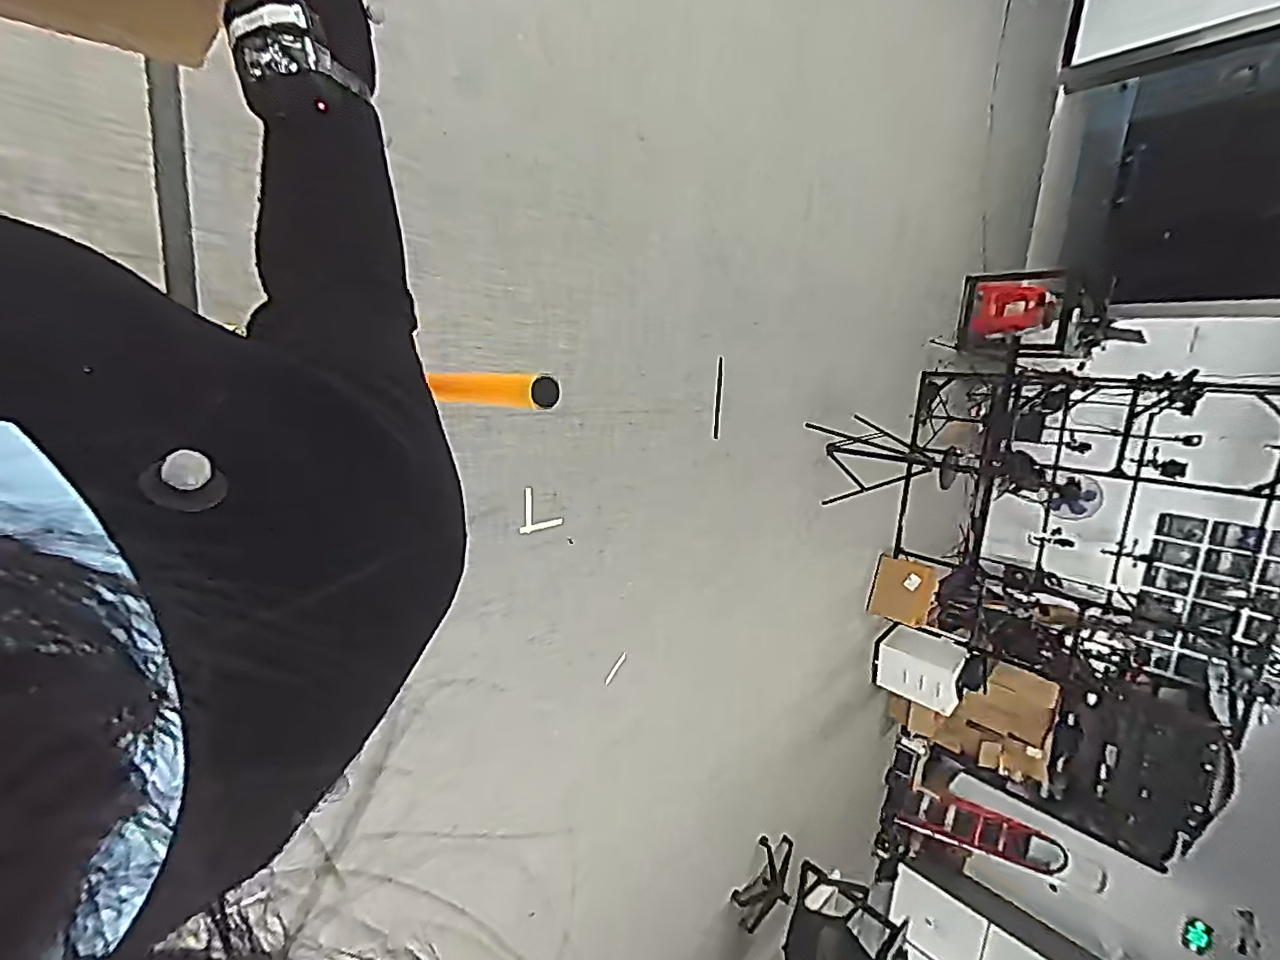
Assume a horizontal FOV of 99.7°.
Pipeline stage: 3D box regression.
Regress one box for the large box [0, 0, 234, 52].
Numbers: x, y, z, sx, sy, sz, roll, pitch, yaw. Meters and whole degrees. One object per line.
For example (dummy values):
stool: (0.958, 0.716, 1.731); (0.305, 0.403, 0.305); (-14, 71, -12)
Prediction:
large box: (-0.500, -0.513, 0.298); (0.408, 0.320, 0.320); (-12, 114, -40)
